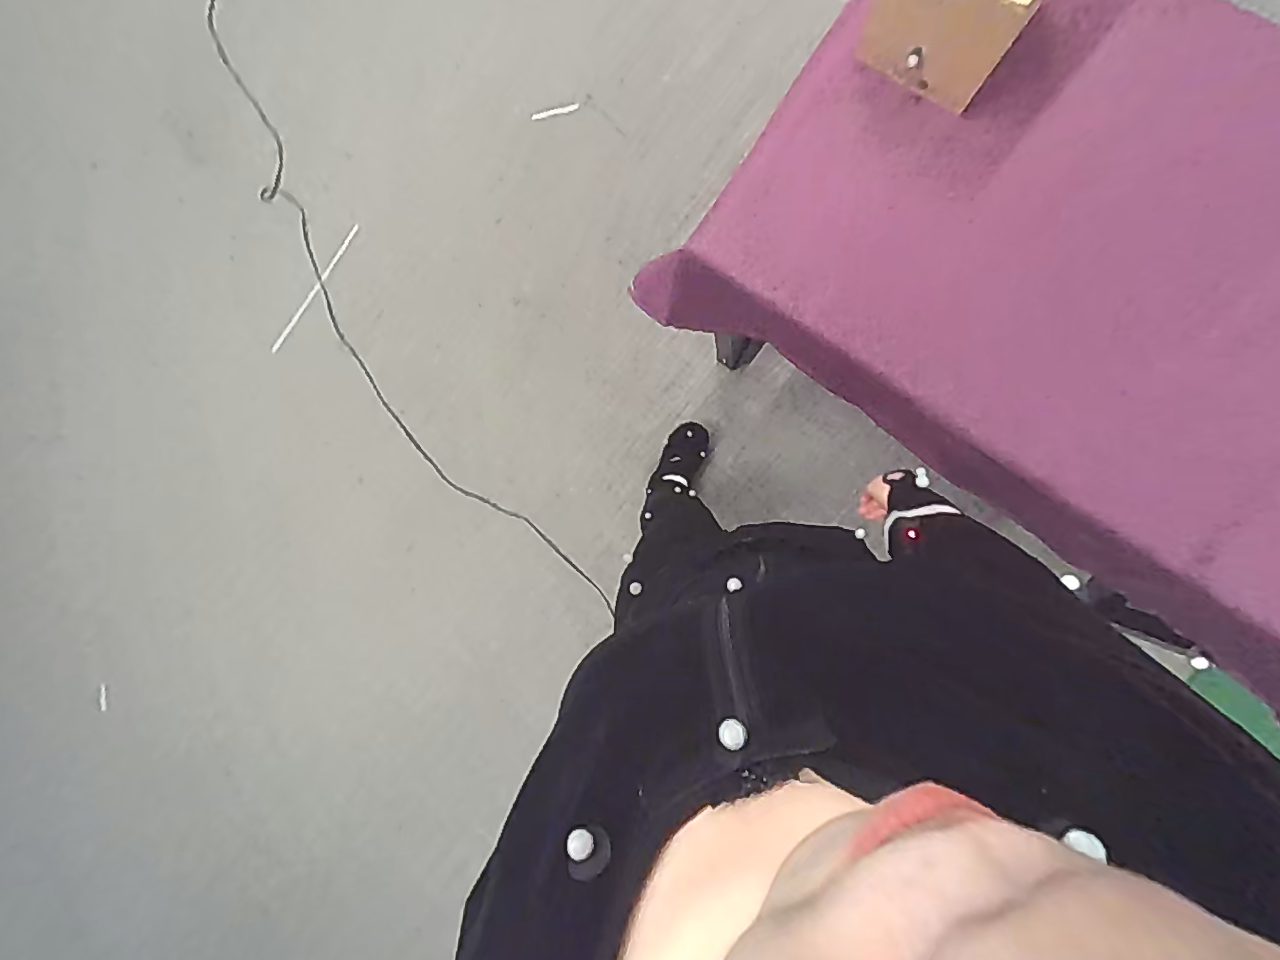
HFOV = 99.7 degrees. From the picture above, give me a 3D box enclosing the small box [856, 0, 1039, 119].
[{"bbox_3d":[0.386,-0.592,0.643,0.168,0.176,0.179,37,95,8],"label":"small box"}]
